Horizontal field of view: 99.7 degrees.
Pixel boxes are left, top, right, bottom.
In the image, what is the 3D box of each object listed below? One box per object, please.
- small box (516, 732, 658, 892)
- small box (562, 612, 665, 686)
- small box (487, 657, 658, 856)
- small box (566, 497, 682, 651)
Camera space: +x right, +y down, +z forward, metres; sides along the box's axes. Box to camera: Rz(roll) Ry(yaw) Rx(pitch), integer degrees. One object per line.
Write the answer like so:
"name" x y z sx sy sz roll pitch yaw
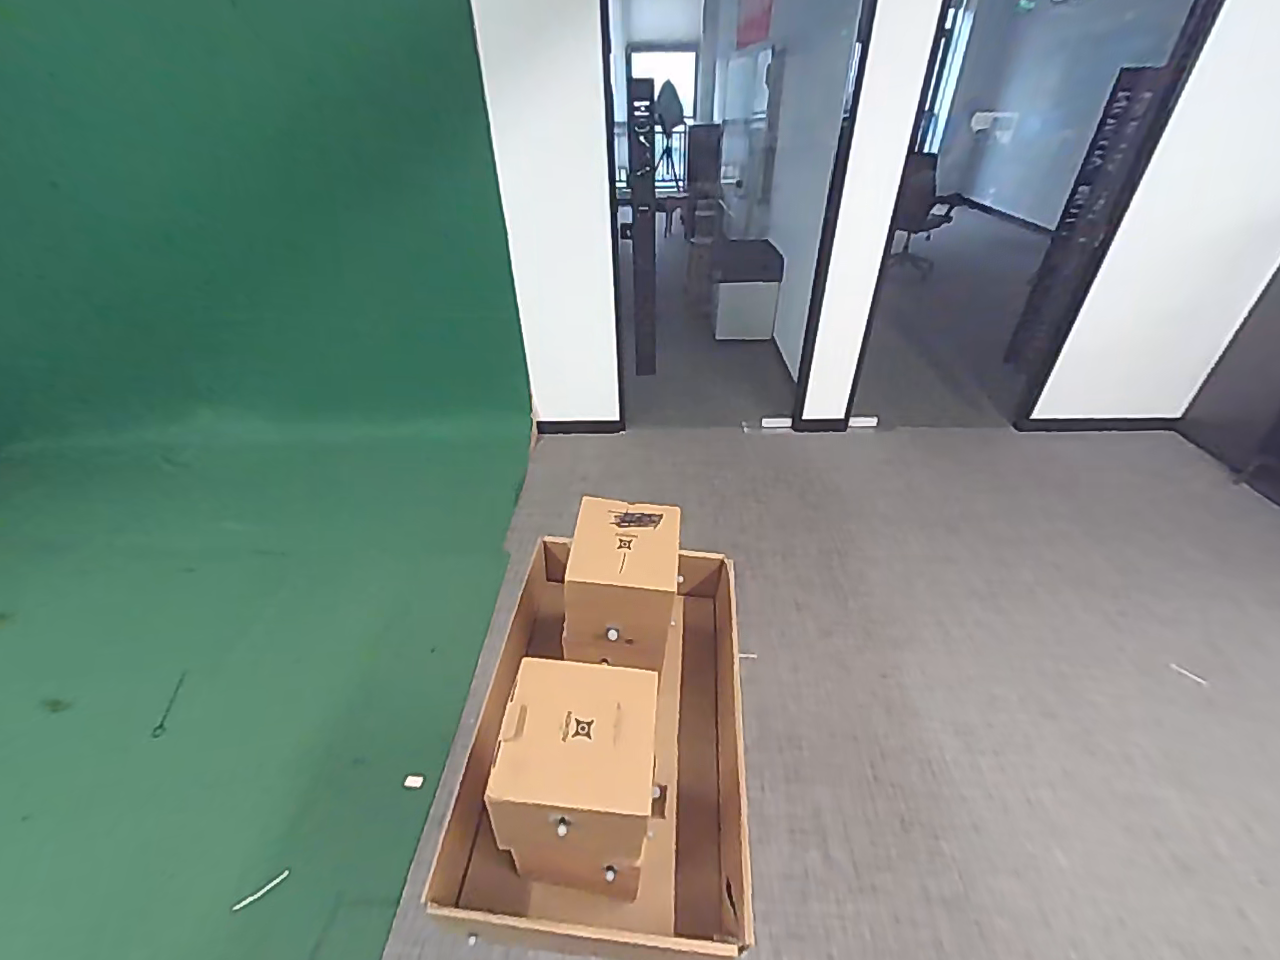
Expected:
"small box" -0.076 0.467 0.784 0.179 0.176 0.168 9 40 4
"small box" -0.039 0.273 1.005 0.179 0.176 0.168 7 43 2
"small box" -0.075 0.346 0.676 0.179 0.176 0.168 6 42 0
"small box" -0.026 0.154 0.892 0.168 0.176 0.179 6 43 1
